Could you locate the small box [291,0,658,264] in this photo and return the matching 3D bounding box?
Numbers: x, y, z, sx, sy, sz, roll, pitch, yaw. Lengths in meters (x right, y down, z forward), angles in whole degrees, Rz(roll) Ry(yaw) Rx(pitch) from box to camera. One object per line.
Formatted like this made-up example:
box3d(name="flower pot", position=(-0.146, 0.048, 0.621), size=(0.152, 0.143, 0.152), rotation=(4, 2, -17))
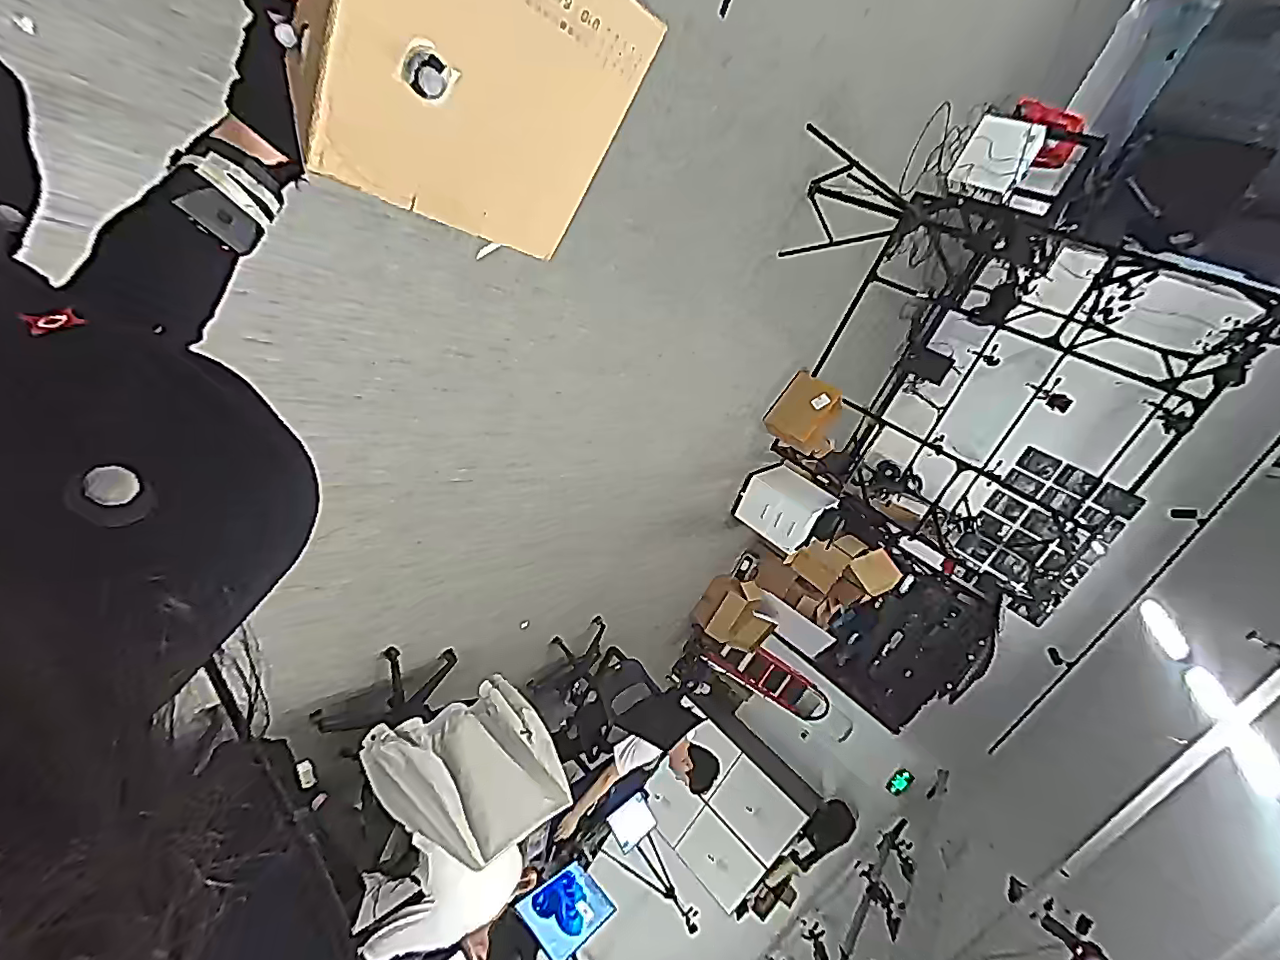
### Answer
box3d(name="small box", position=(-0.113, -0.285, 0.357), size=(0.168, 0.179, 0.176), rotation=(6, 136, -43))
